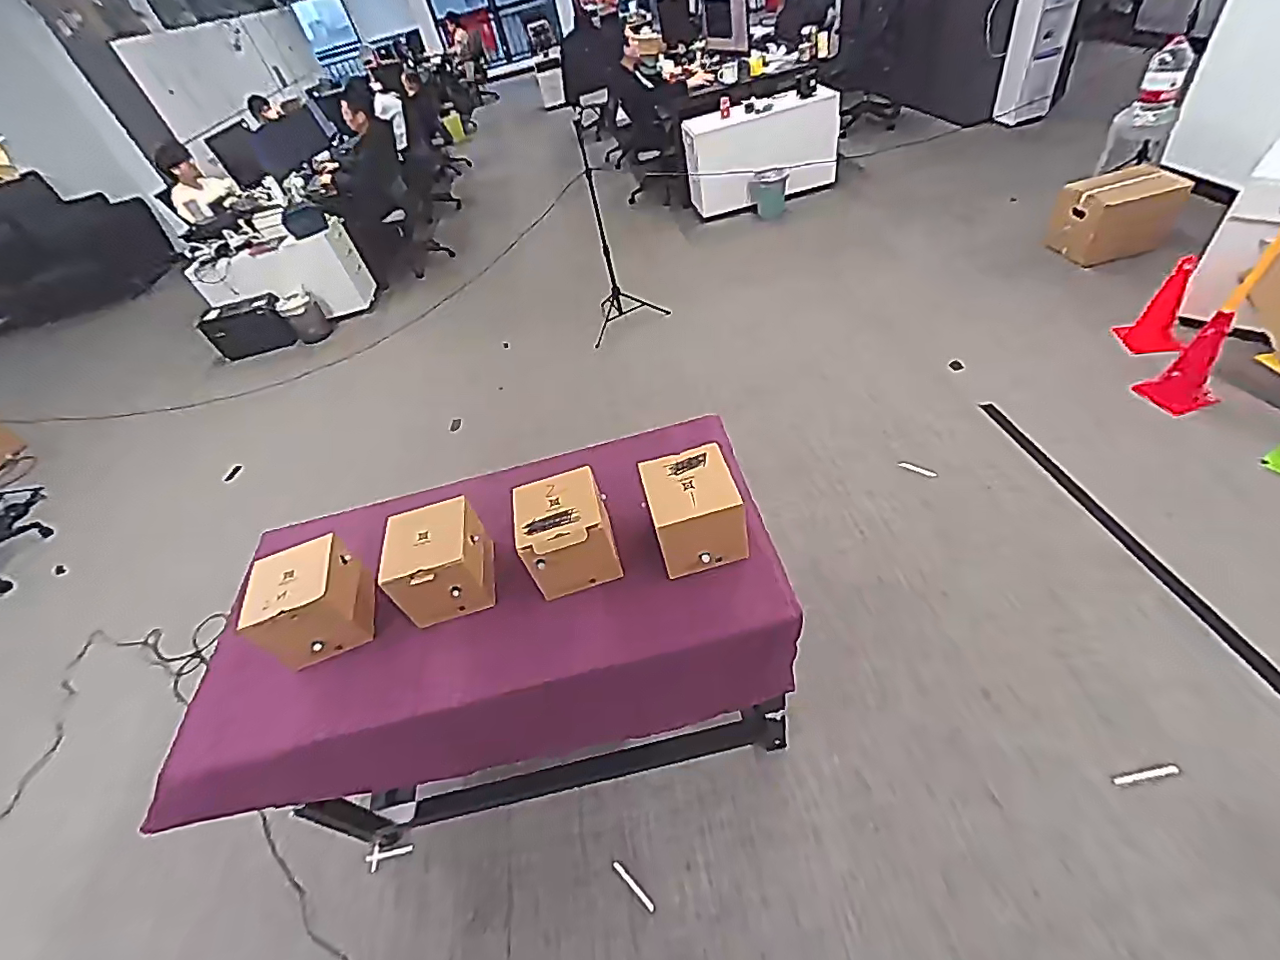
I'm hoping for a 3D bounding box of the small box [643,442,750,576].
[{"bbox_3d":[0.111,0.058,1.067,0.168,0.176,0.179,-16,45,1],"label":"small box"}]

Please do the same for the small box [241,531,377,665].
[{"bbox_3d":[-0.660,0.241,1.104,0.168,0.176,0.179,-21,45,-5],"label":"small box"}]

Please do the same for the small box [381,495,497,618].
[{"bbox_3d":[-0.401,0.164,1.111,0.168,0.176,0.179,-15,44,-1],"label":"small box"}]
